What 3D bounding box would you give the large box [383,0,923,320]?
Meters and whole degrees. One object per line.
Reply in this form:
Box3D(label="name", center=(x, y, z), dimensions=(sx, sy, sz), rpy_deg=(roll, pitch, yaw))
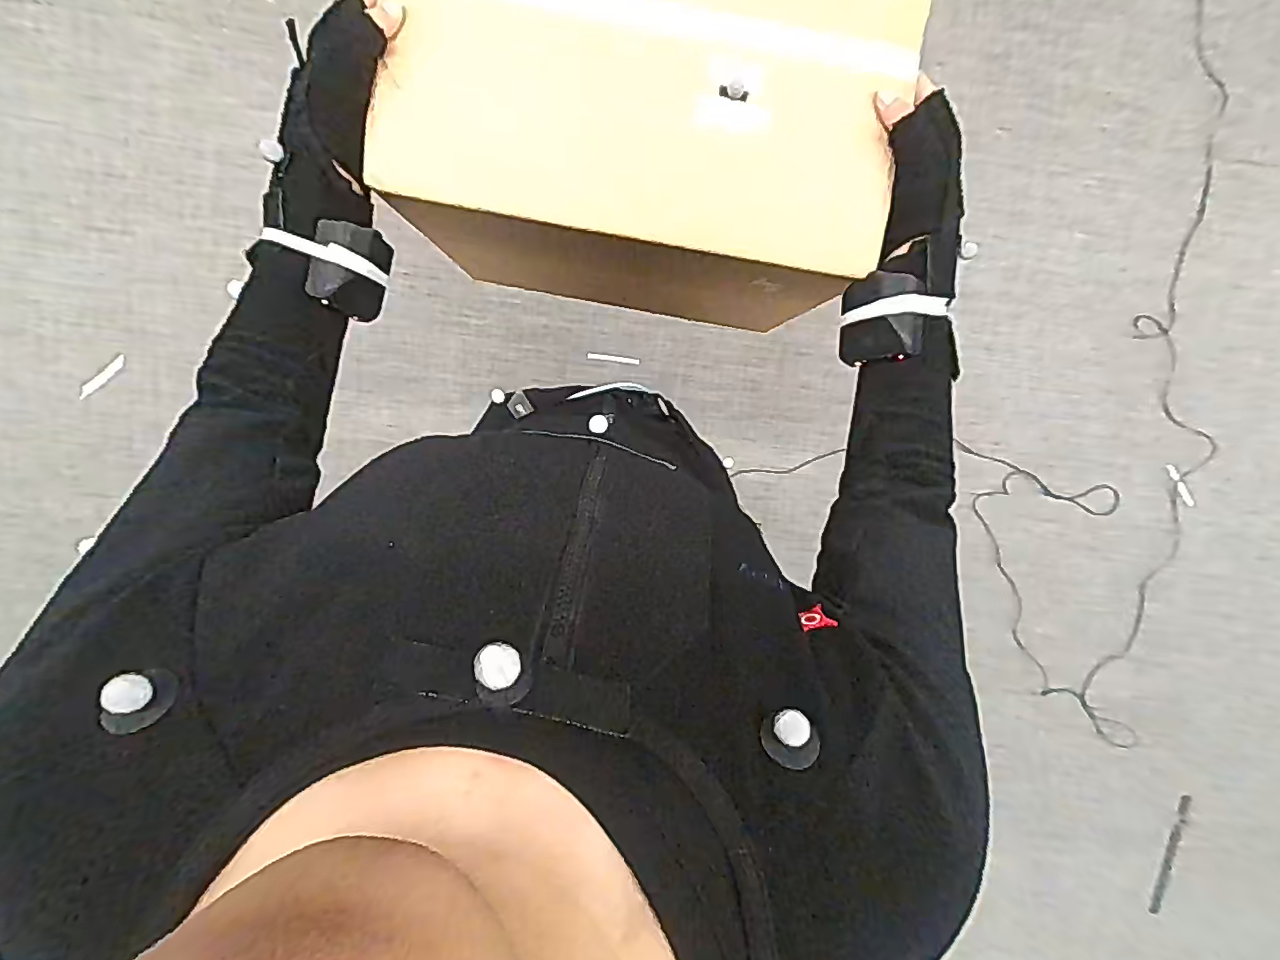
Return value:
Box3D(label="large box", center=(0.007, -0.372, 0.560), dimensions=(0.408, 0.320, 0.320), rpy_deg=(9, 98, -4))
